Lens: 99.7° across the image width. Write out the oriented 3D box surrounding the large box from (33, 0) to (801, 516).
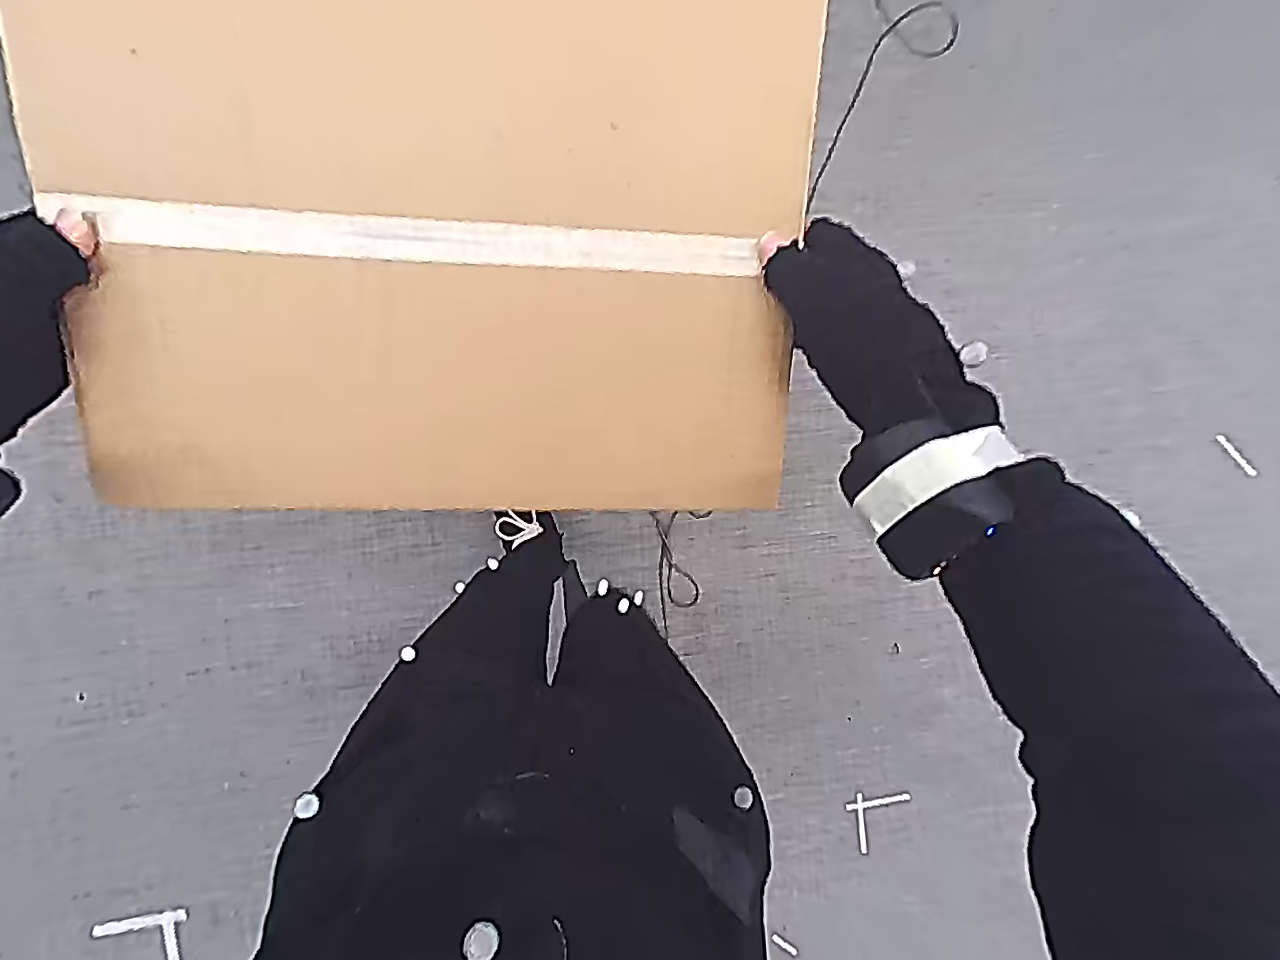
[{"bbox_3d":[-0.123,-0.164,0.462,0.408,0.320,0.320,0,103,-7],"label":"large box"}]
